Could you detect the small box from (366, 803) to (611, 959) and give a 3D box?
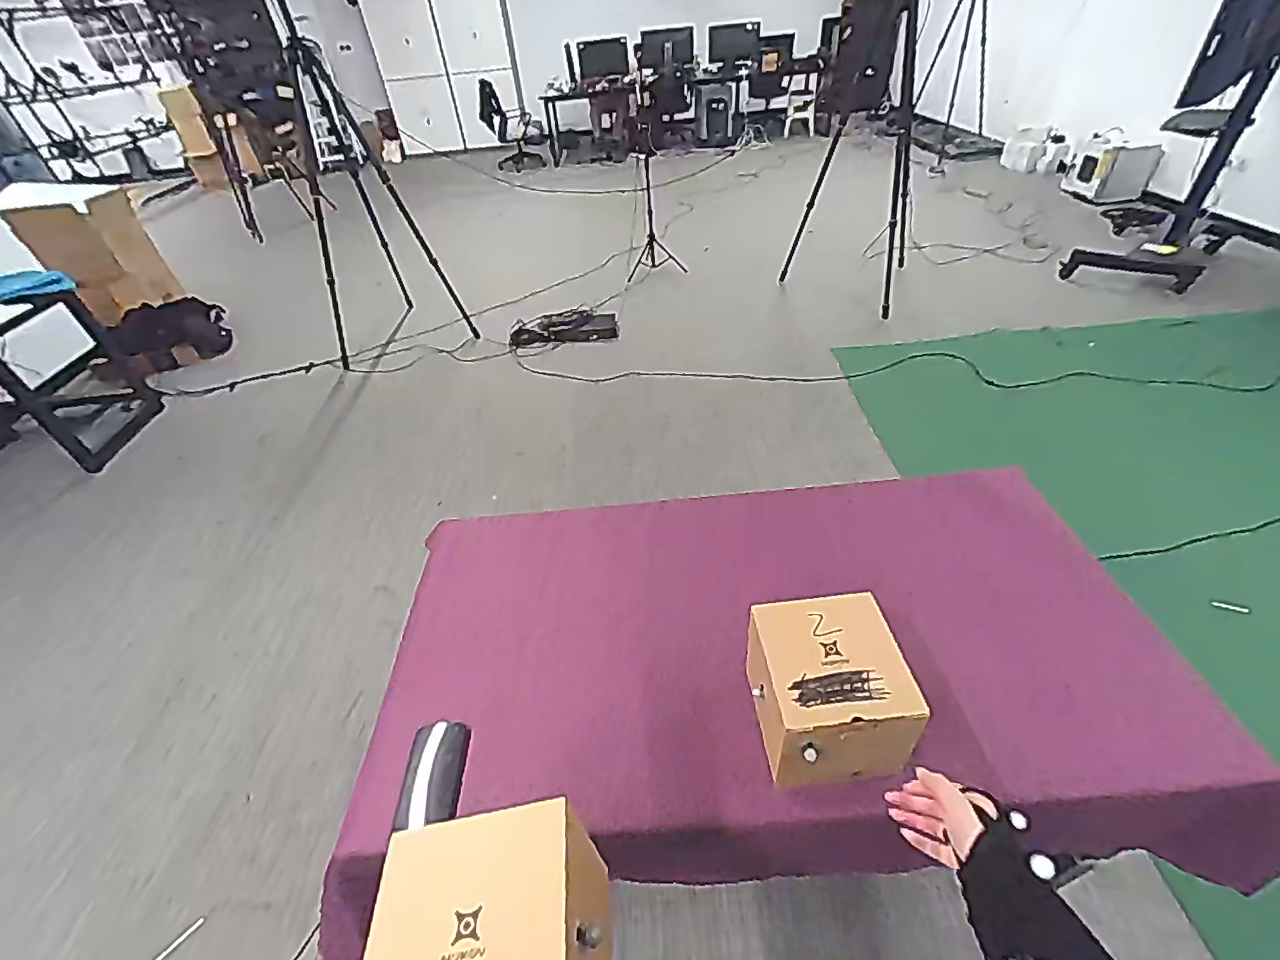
[{"bbox_3d":[-0.121,0.421,0.469,0.168,0.176,0.179,-12,37,1],"label":"small box"}]
